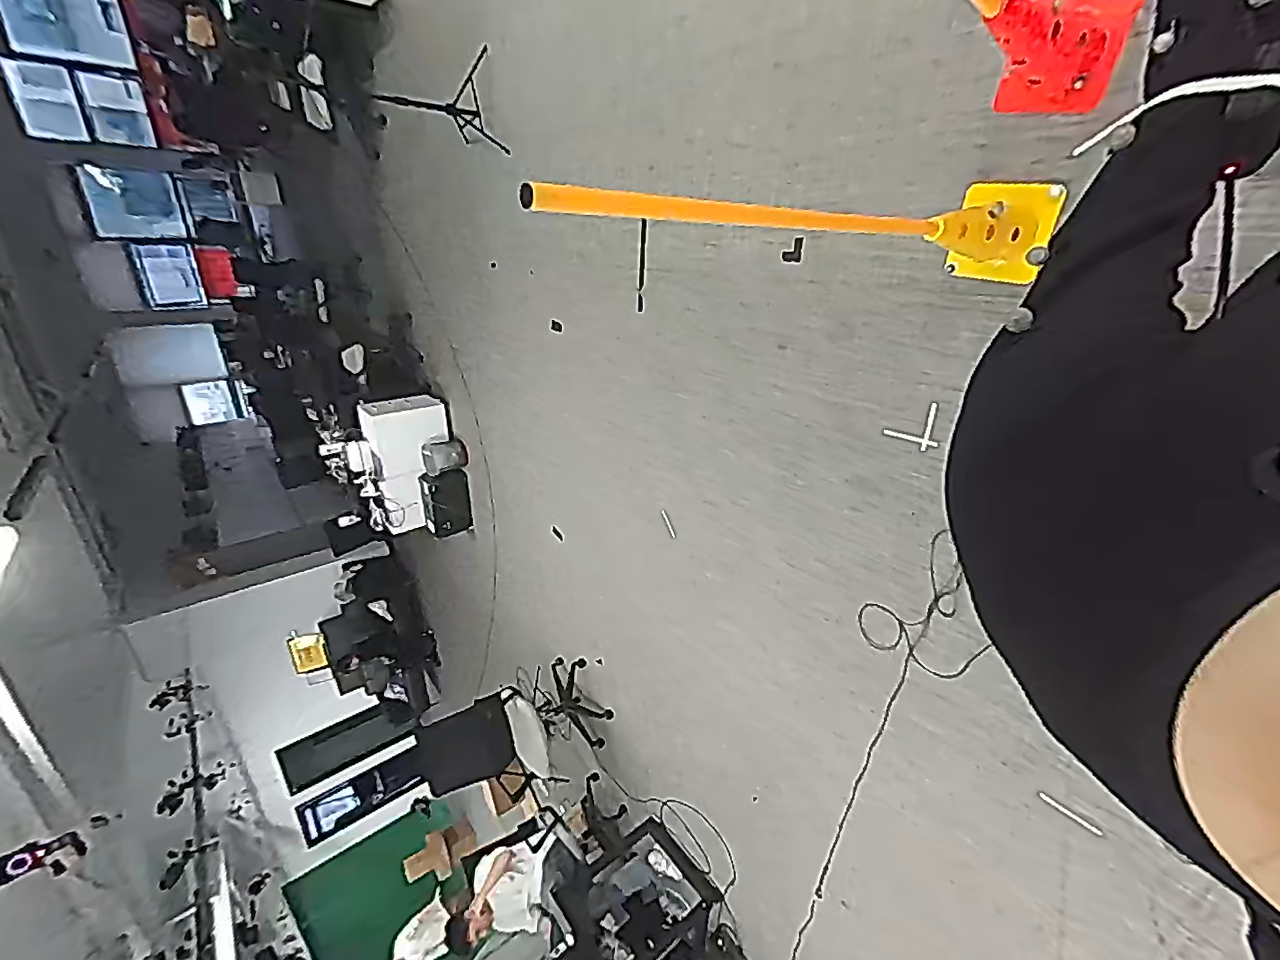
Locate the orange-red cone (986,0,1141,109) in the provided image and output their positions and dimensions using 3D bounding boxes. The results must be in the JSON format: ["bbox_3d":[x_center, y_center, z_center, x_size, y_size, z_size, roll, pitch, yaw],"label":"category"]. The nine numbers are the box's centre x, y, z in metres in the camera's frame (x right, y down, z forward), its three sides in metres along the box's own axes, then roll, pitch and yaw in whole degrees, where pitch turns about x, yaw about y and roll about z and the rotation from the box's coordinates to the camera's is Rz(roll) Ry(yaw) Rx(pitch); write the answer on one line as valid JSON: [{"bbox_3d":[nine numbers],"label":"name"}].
[{"bbox_3d":[0.710,-0.820,0.974,0.198,0.360,0.199,35,129,39],"label":"orange-red cone"}]
